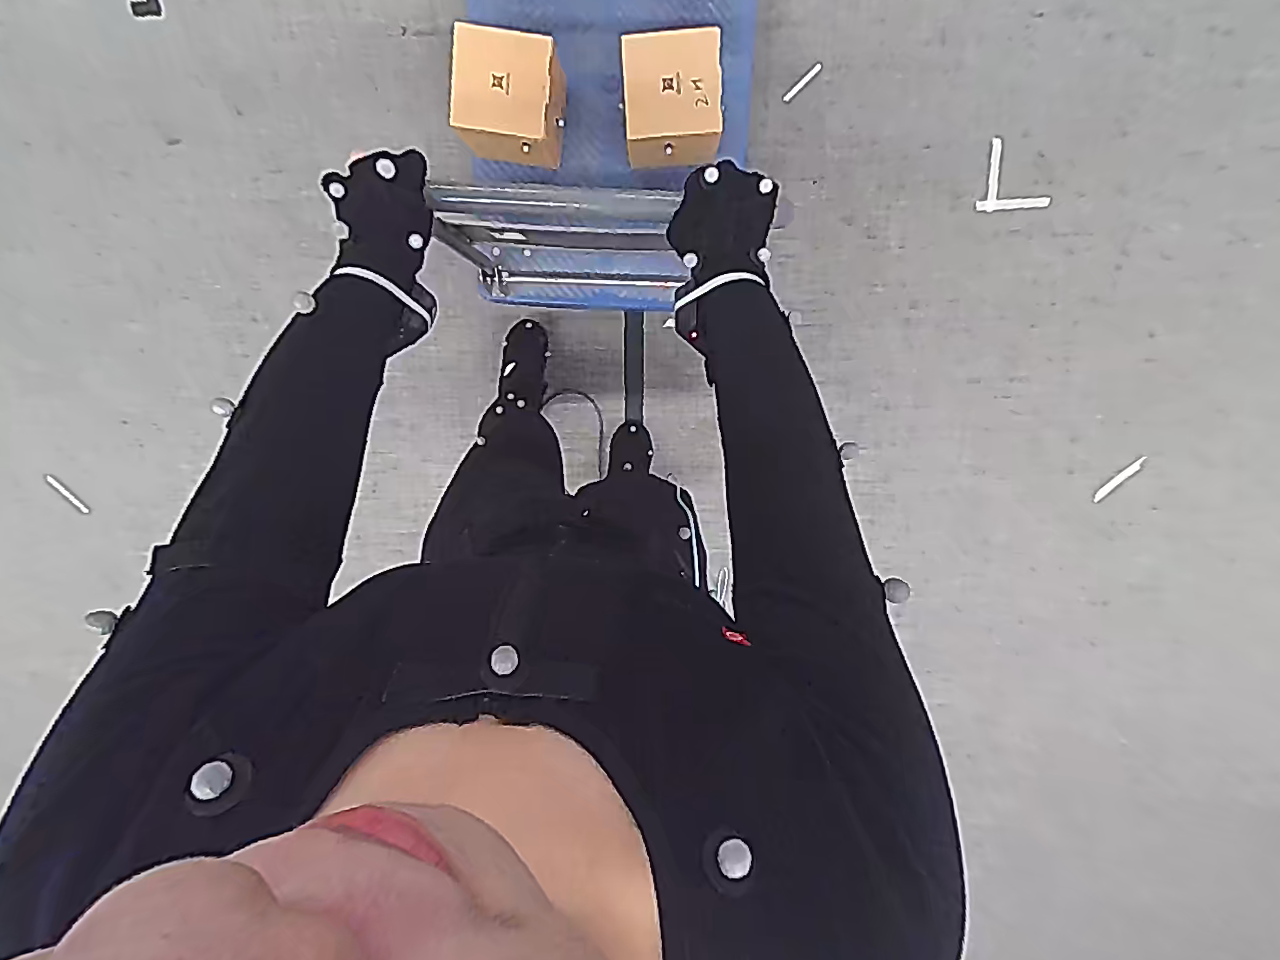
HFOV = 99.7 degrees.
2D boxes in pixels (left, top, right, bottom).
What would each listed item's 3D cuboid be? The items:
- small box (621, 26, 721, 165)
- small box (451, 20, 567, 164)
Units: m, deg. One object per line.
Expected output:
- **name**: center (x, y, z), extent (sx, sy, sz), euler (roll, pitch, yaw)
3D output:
- **small box**: center (0.060, -0.725, 1.039), extent (0.179, 0.176, 0.168), euler (-3, 104, 2)
- **small box**: center (-0.247, -0.736, 1.045), extent (0.179, 0.176, 0.168), euler (7, 104, -2)
